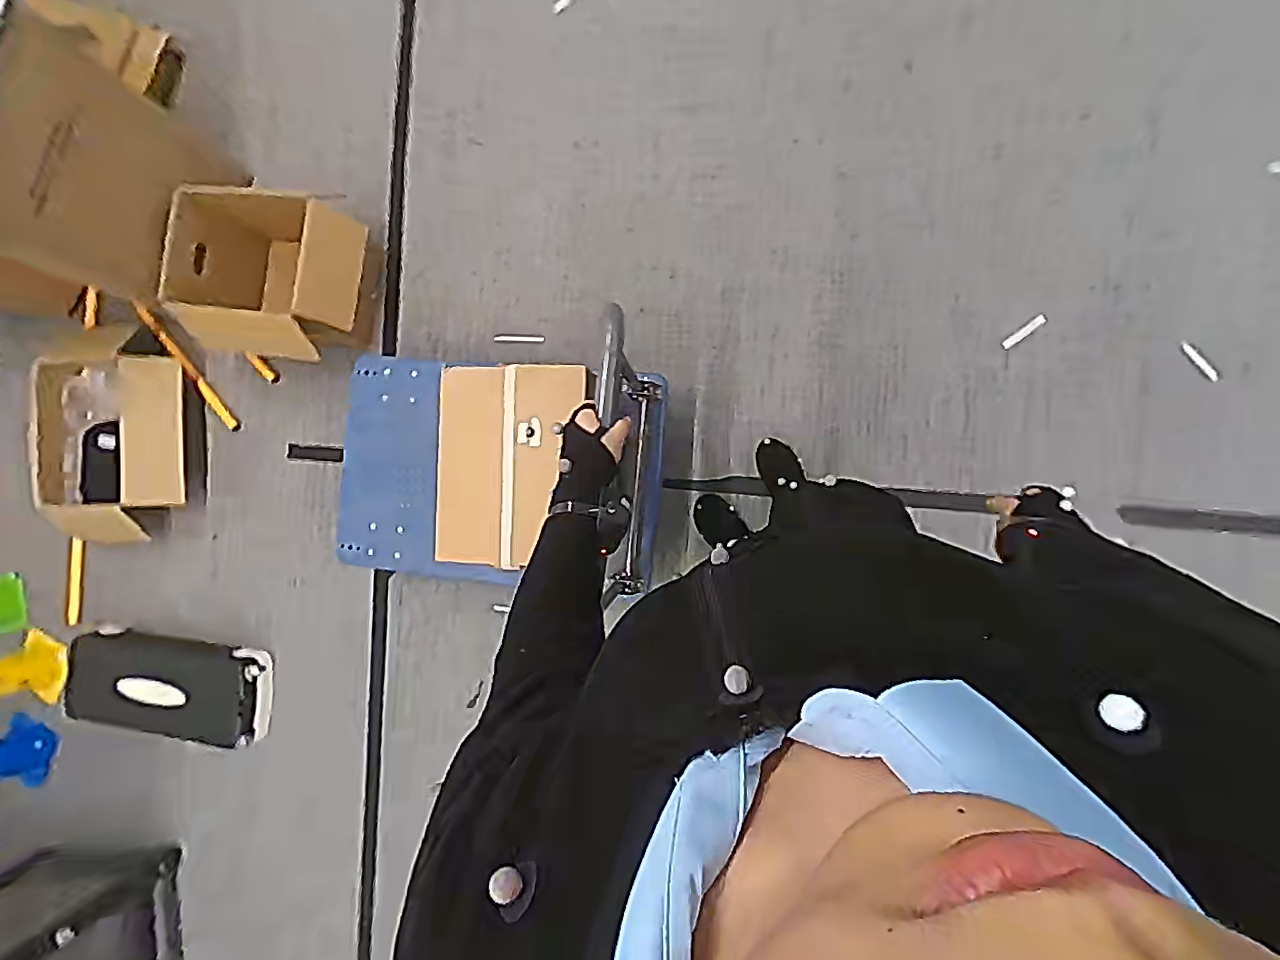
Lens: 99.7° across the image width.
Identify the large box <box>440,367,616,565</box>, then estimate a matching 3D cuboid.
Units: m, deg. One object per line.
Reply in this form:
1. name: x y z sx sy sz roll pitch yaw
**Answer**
1. large box: -0.236 -0.023 1.245 0.320 0.320 0.408 1 88 8
